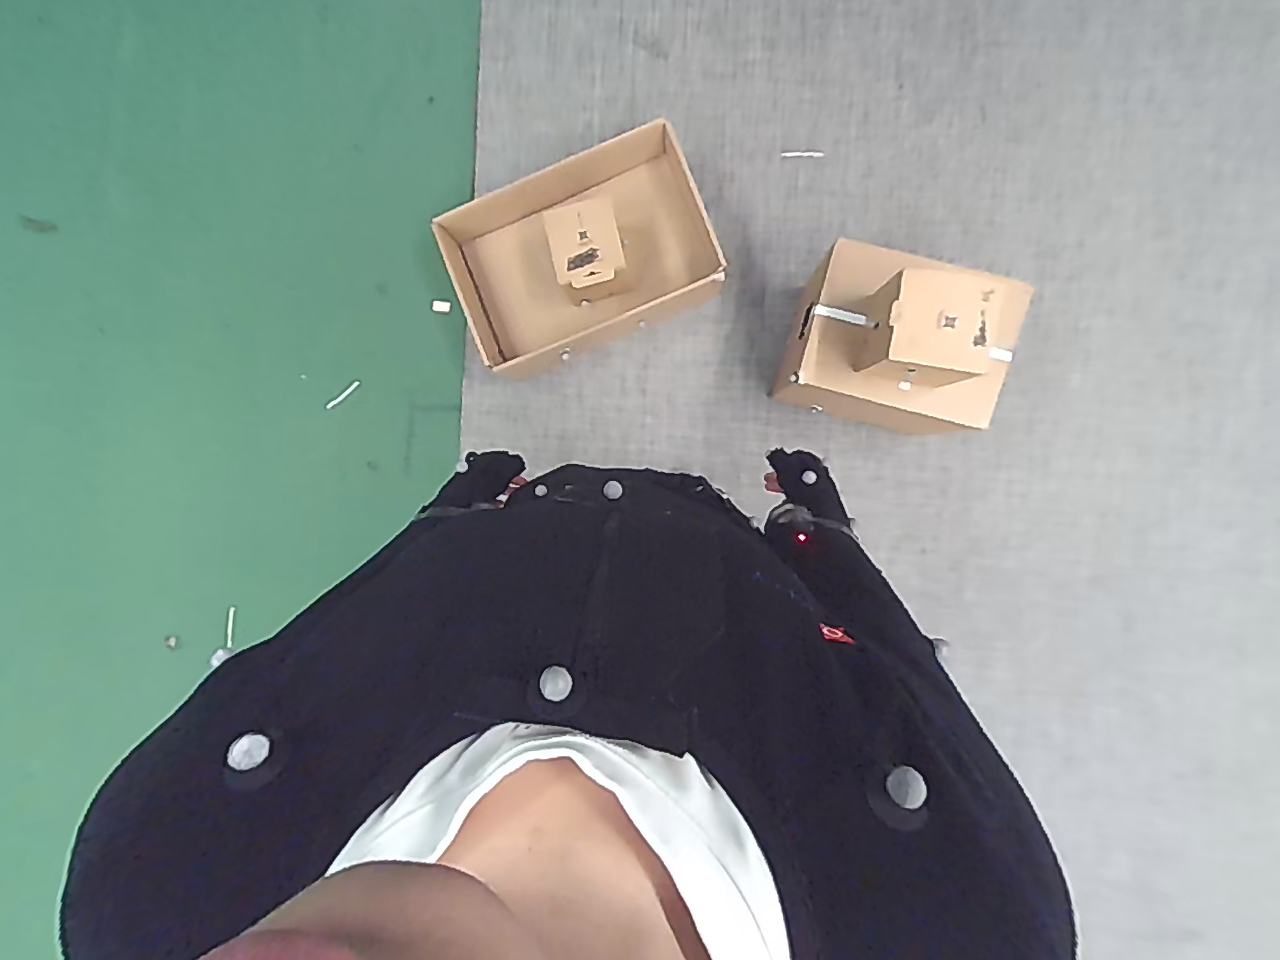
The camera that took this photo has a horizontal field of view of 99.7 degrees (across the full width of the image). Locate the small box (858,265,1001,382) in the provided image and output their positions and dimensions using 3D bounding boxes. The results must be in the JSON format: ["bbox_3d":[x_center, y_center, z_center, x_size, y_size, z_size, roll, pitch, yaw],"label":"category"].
[{"bbox_3d":[0.535,-0.288,1.028,0.179,0.176,0.168,10,93,4],"label":"small box"}]

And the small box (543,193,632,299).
[{"bbox_3d":[-0.121,-0.561,1.331,0.168,0.176,0.179,-13,89,5],"label":"small box"}]
